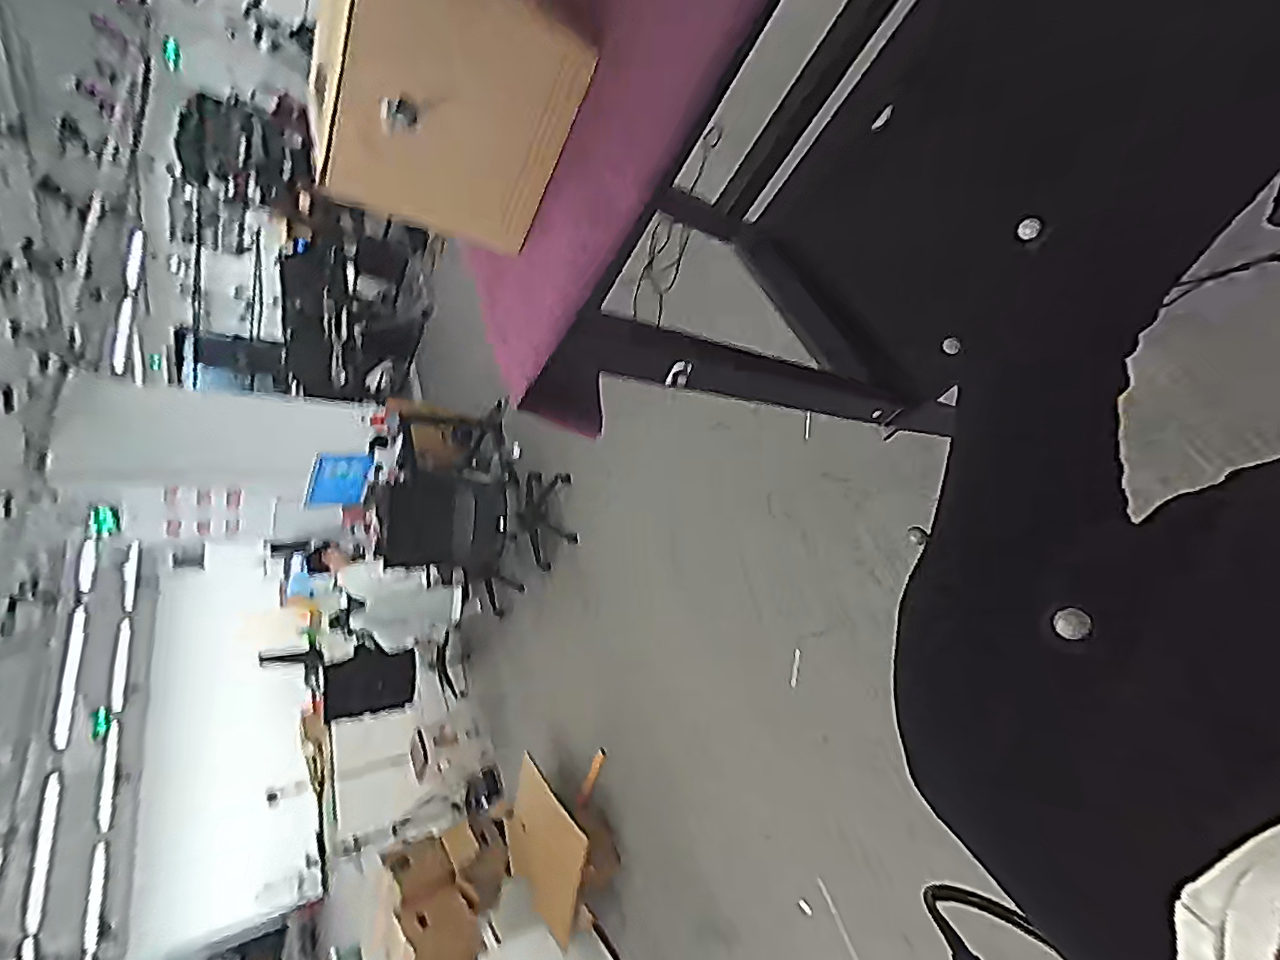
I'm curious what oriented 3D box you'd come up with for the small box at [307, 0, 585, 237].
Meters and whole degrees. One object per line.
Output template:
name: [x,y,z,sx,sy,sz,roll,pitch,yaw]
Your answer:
small box: [-0.171,-0.342,0.458,0.179,0.176,0.168,-52,51,35]
